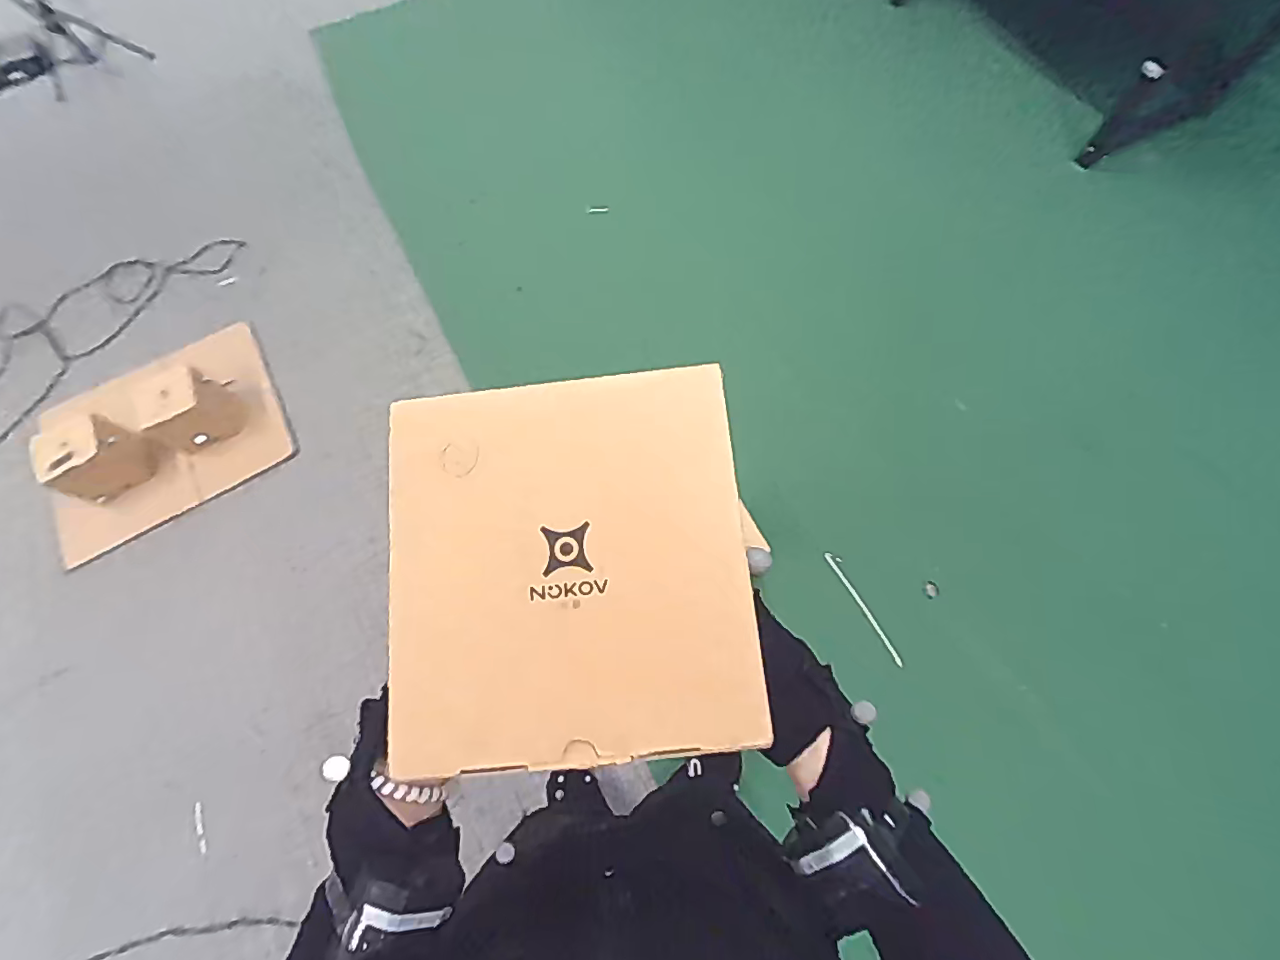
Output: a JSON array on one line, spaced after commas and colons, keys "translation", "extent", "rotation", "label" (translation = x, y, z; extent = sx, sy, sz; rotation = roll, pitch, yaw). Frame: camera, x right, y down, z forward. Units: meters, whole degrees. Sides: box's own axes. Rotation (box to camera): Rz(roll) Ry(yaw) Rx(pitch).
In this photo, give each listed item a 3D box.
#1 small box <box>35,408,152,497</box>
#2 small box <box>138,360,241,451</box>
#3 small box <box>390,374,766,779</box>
[{"translation": [-1.578, -0.071, 1.572], "extent": [0.168, 0.176, 0.179], "rotation": [-31, 68, -9], "label": "small box"}, {"translation": [-1.346, -0.219, 1.622], "extent": [0.168, 0.176, 0.179], "rotation": [-26, 69, -6], "label": "small box"}, {"translation": [-0.032, 0.056, 0.330], "extent": [0.168, 0.176, 0.179], "rotation": [-7, 77, 1], "label": "small box"}]
